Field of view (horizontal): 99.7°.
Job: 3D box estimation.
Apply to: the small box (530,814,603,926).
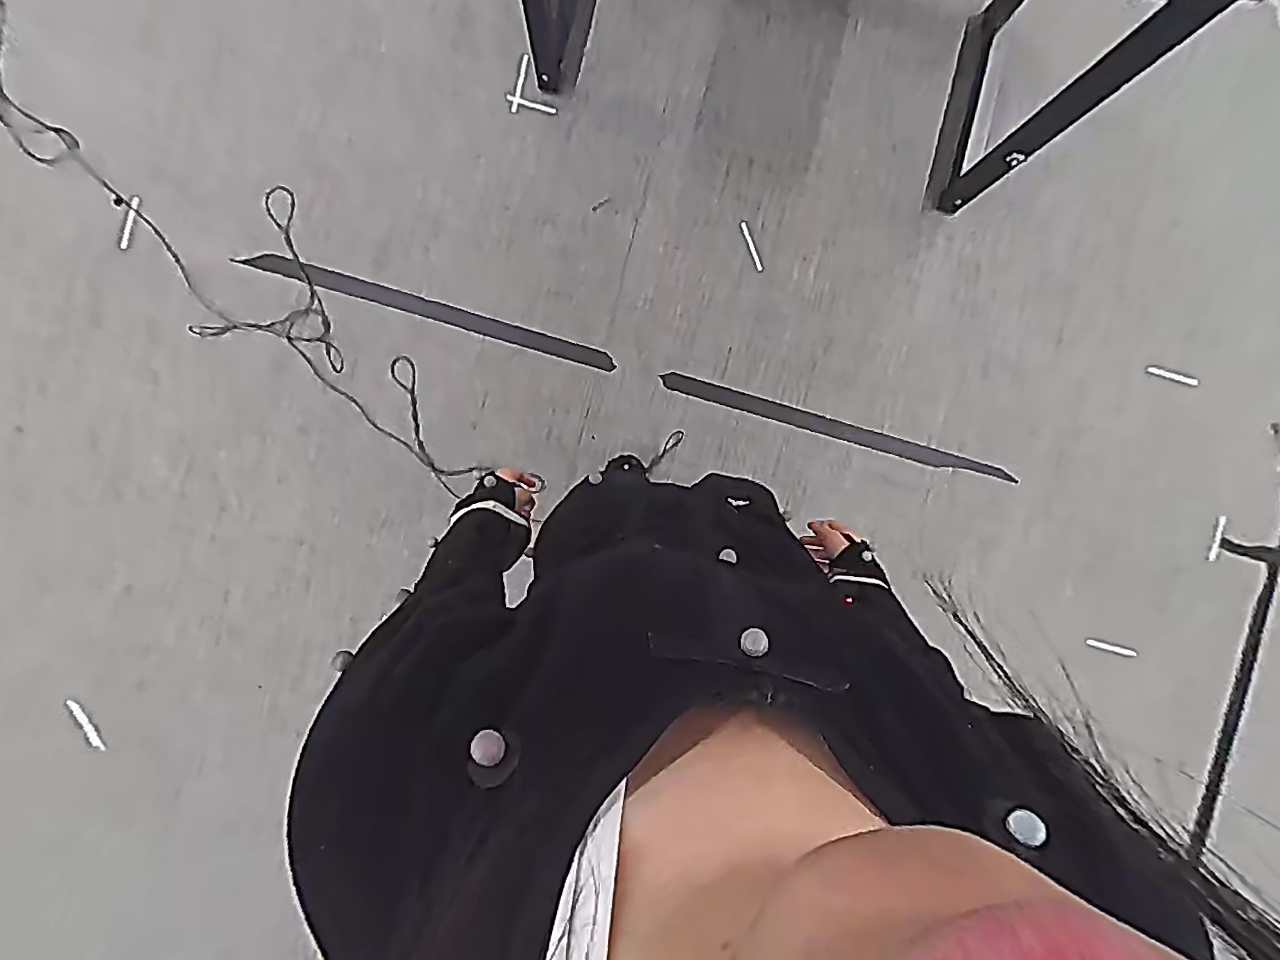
[{"bbox_3d":[-0.187,1.004,1.405,0.168,0.176,0.179,6,91,-4],"label":"small box"}]
